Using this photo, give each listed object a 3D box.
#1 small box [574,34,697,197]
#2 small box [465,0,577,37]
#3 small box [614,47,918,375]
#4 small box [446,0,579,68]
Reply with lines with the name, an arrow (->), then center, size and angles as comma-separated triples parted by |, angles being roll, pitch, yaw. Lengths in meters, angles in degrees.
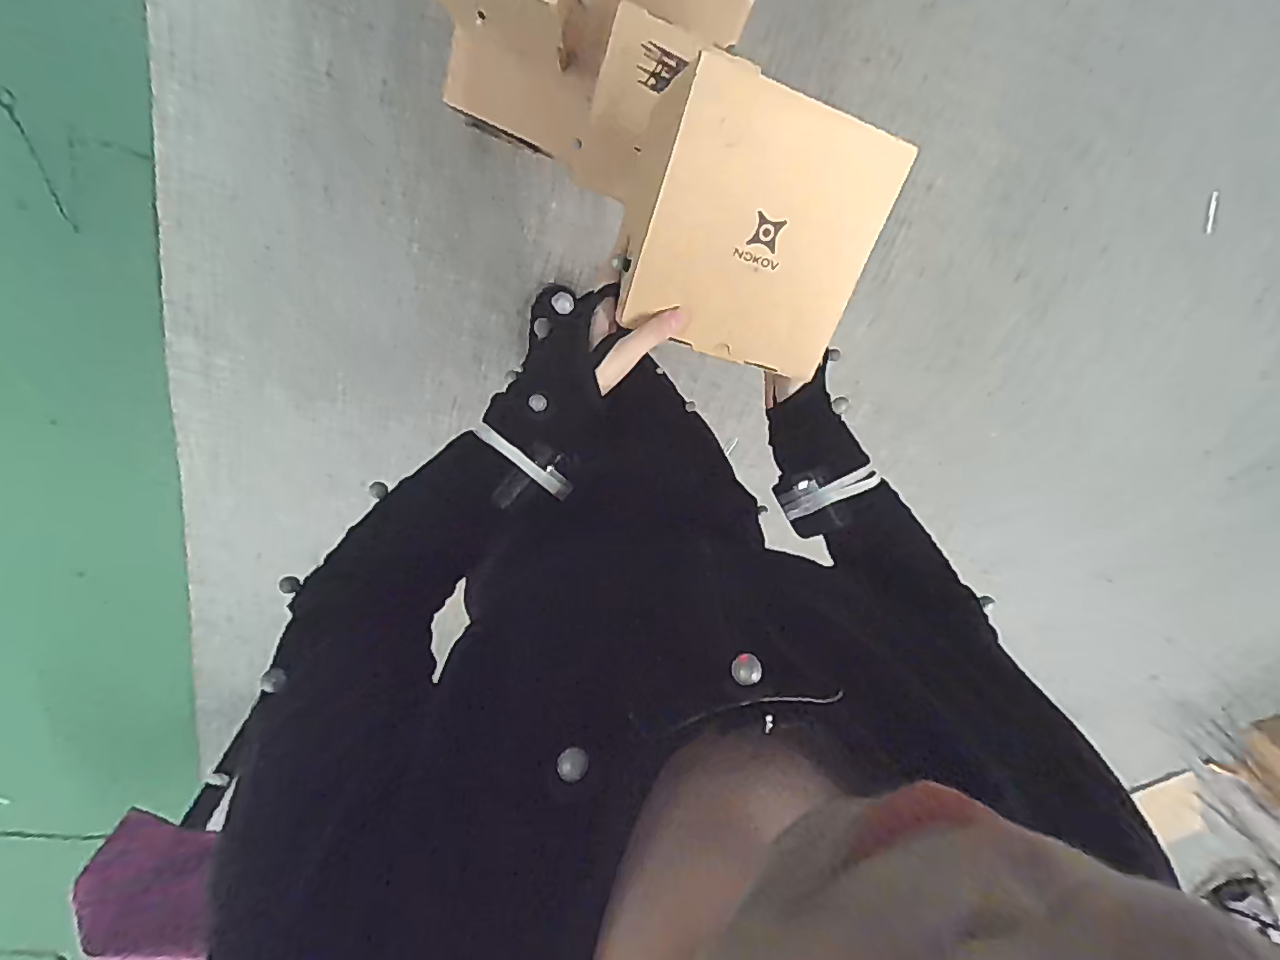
small box -> 0.007, -0.519, 0.811 | 0.179, 0.176, 0.168 | 14, 115, -13
small box -> -0.143, -0.605, 0.561 | 0.179, 0.176, 0.168 | 16, 115, -12
small box -> 0.080, -0.213, 0.455 | 0.168, 0.176, 0.179 | 12, 117, -15
small box -> -0.162, -0.686, 0.705 | 0.168, 0.176, 0.179 | 16, 114, -13
